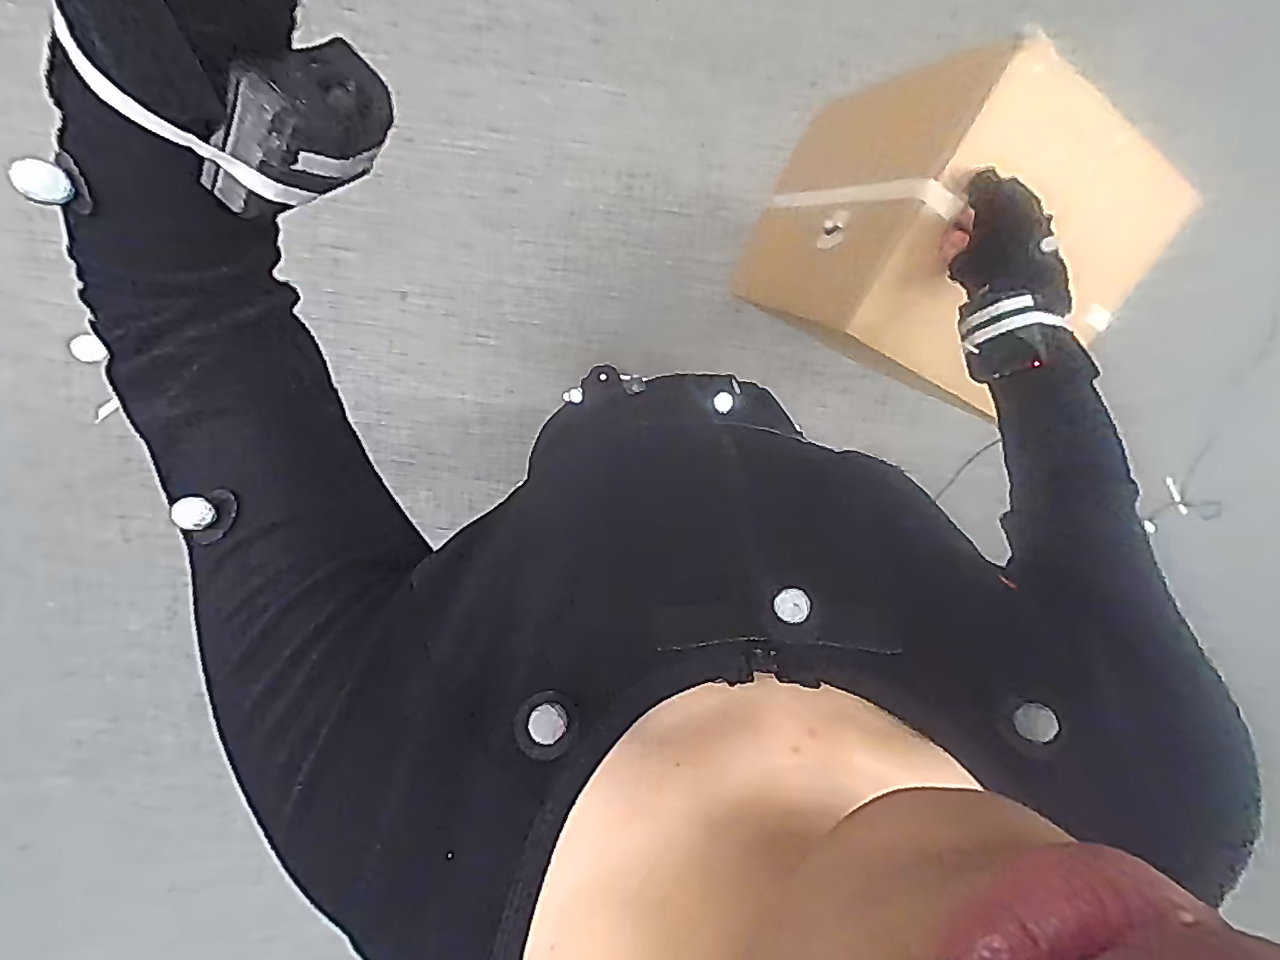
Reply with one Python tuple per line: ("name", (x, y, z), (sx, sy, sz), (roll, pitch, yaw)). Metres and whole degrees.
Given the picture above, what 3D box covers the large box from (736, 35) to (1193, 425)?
("large box", (0.404, -0.326, 0.784), (0.320, 0.408, 0.320), (20, 110, -20))
